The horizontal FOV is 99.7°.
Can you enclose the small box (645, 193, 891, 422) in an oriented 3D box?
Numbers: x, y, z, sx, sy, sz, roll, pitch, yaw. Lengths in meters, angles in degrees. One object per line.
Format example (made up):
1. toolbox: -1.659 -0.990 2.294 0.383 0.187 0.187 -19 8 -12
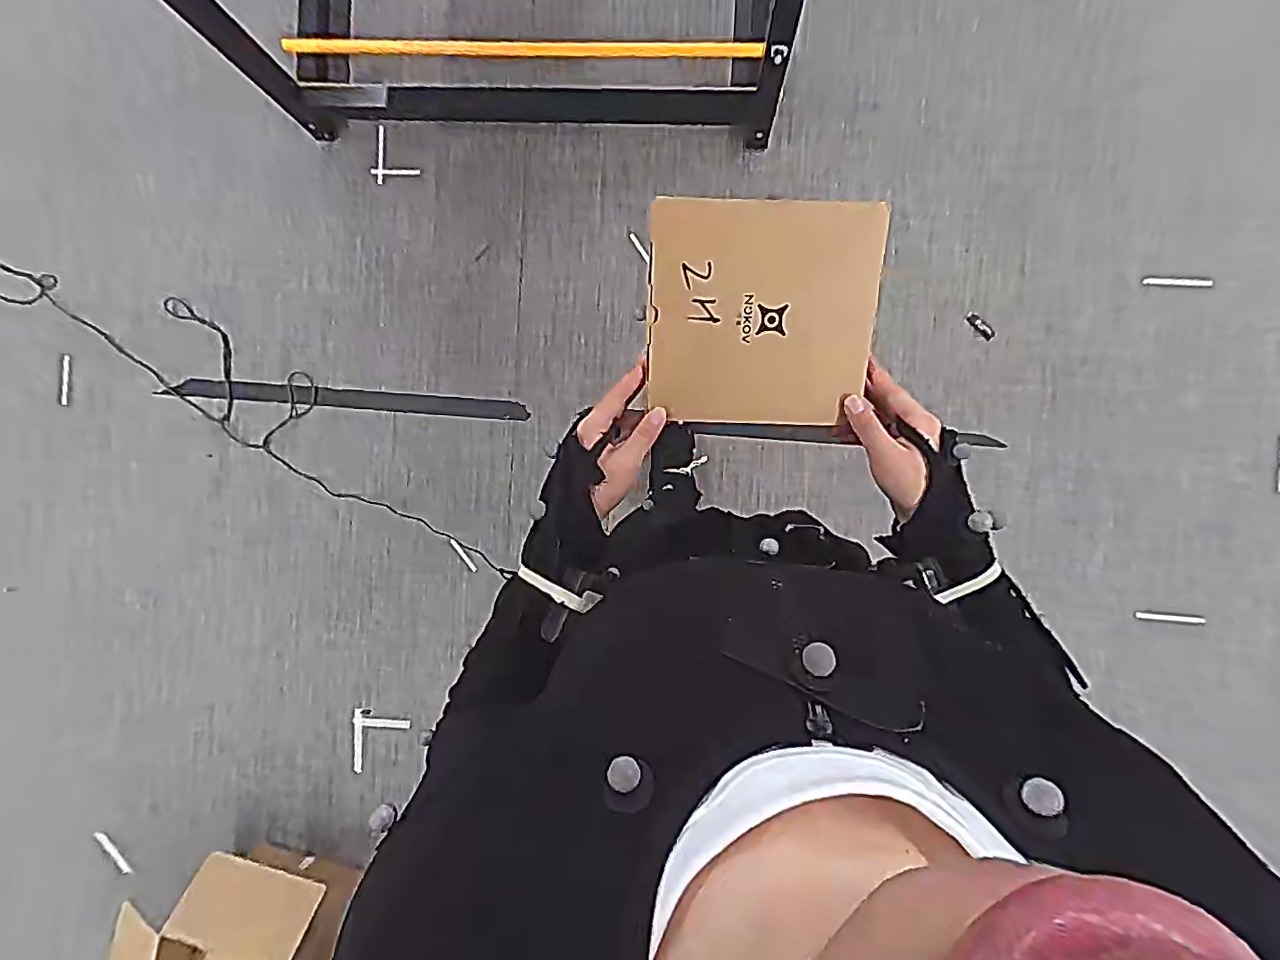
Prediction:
1. small box: 0.096 -0.153 0.494 0.179 0.176 0.168 2 107 1
